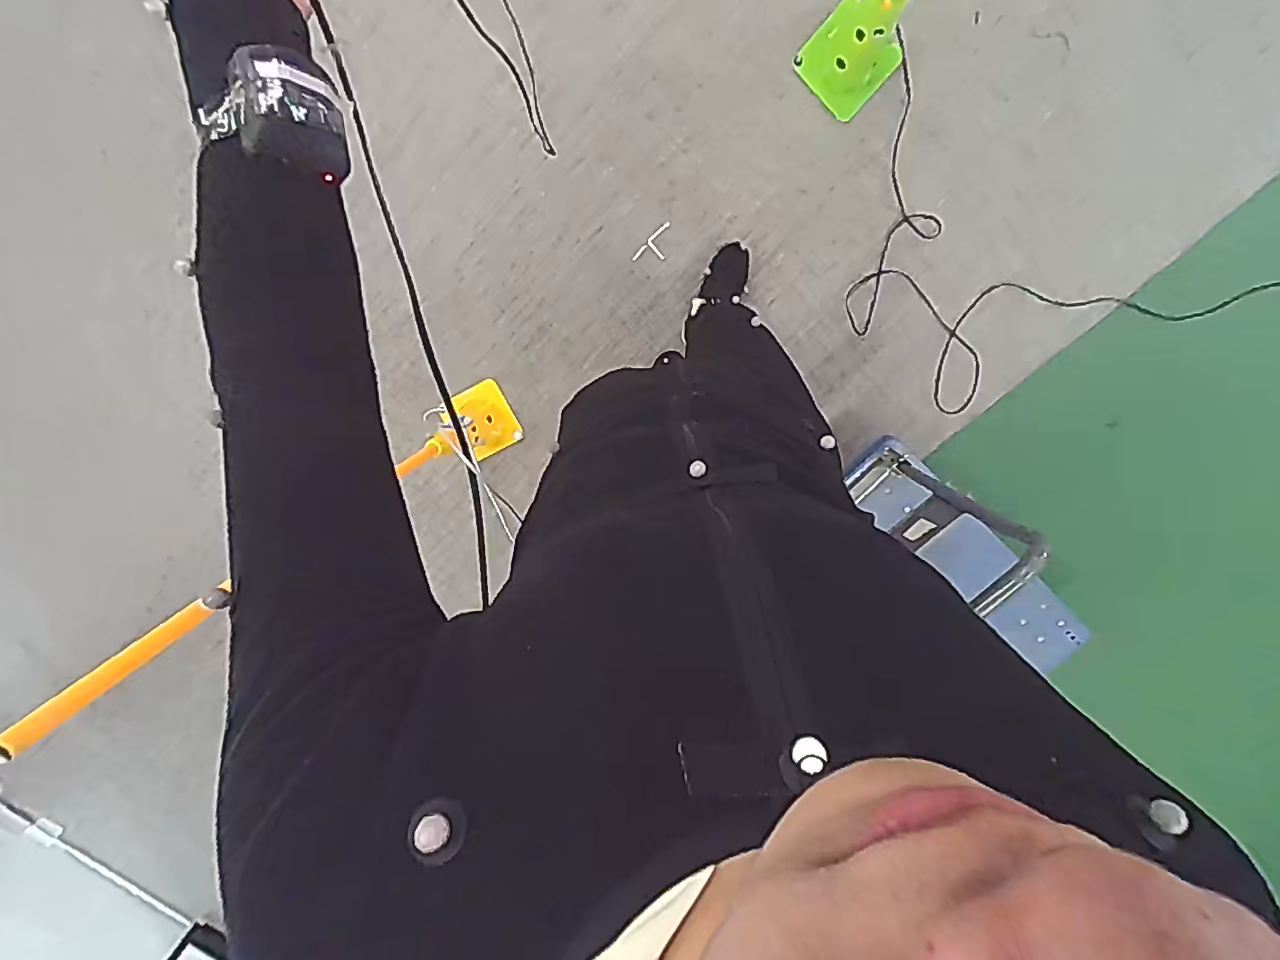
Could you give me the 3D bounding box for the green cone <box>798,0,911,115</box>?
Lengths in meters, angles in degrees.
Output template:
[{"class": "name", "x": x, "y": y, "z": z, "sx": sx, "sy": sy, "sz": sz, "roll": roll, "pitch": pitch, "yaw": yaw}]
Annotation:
[{"class": "green cone", "x": 0.504, "y": -0.975, "z": 1.129, "sx": 0.200, "sy": 0.368, "sz": 0.202, "roll": 41, "pitch": 102, "yaw": -9}]
